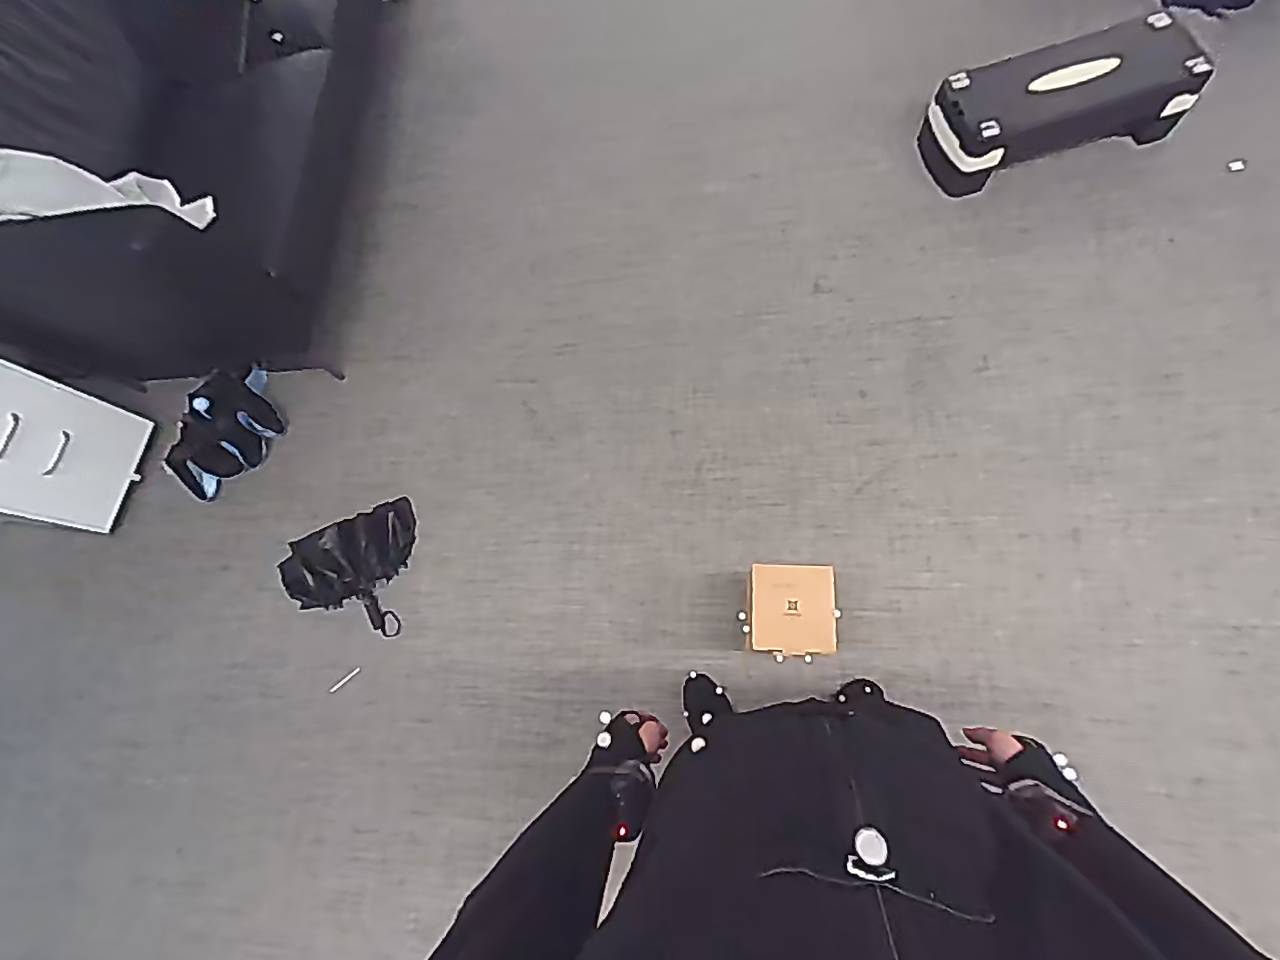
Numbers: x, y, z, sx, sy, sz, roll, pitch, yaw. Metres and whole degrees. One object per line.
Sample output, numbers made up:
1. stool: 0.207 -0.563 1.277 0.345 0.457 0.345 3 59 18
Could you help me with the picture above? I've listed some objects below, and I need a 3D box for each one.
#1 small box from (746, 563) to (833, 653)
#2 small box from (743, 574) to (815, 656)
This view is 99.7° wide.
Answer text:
1. small box: 0.321 0.283 1.181 0.168 0.176 0.179 0 71 9
2. small box: 0.341 0.334 1.335 0.168 0.176 0.179 2 73 10
